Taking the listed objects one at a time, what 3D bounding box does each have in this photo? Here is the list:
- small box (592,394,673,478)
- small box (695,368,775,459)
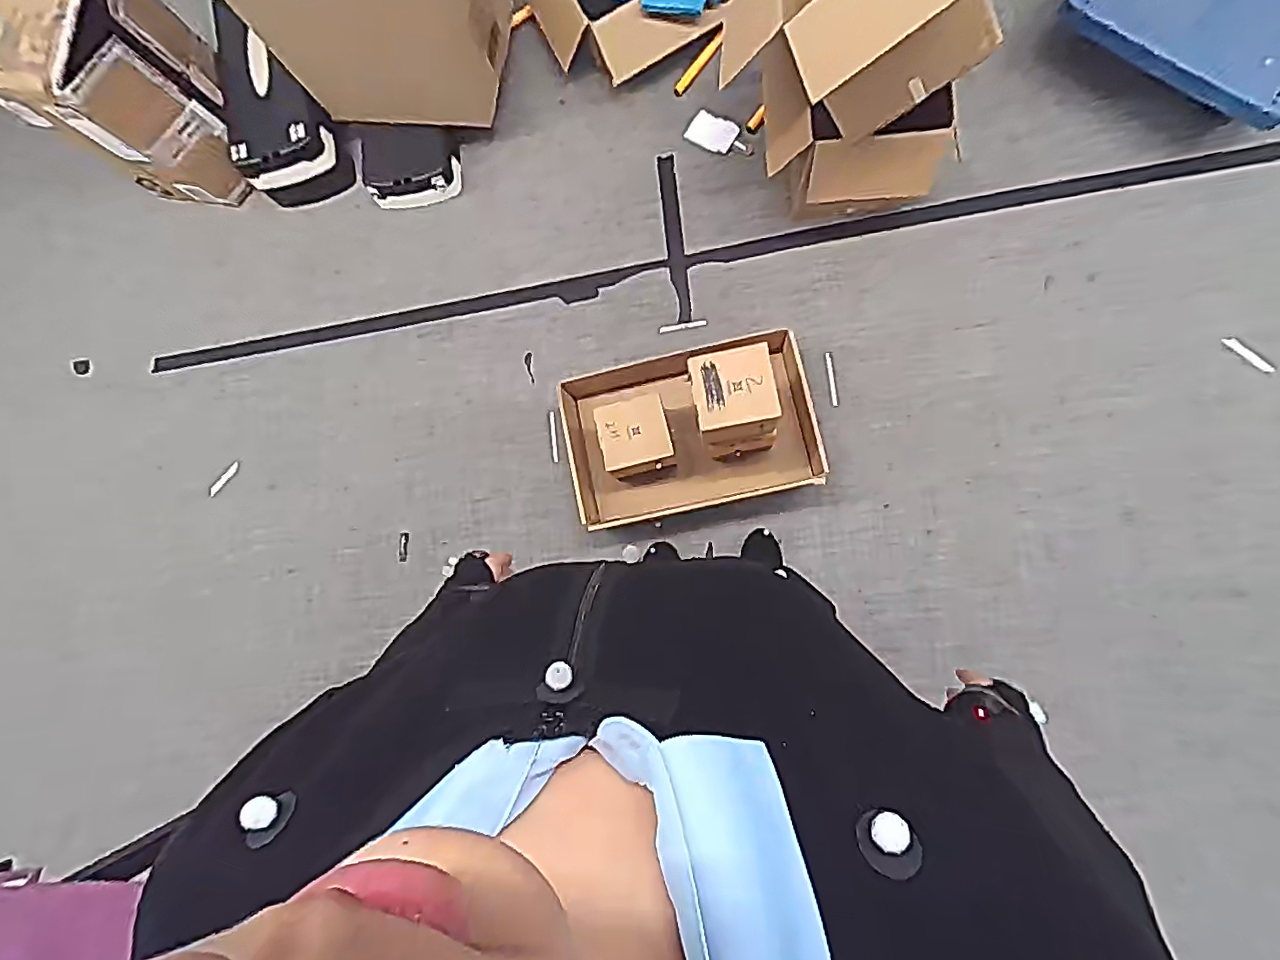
[{"bbox_3d":[-0.013,-0.109,1.415,0.179,0.176,0.168,-14,82,5],"label":"small box"},{"bbox_3d":[0.240,-0.164,1.390,0.168,0.176,0.179,-12,83,7],"label":"small box"}]
